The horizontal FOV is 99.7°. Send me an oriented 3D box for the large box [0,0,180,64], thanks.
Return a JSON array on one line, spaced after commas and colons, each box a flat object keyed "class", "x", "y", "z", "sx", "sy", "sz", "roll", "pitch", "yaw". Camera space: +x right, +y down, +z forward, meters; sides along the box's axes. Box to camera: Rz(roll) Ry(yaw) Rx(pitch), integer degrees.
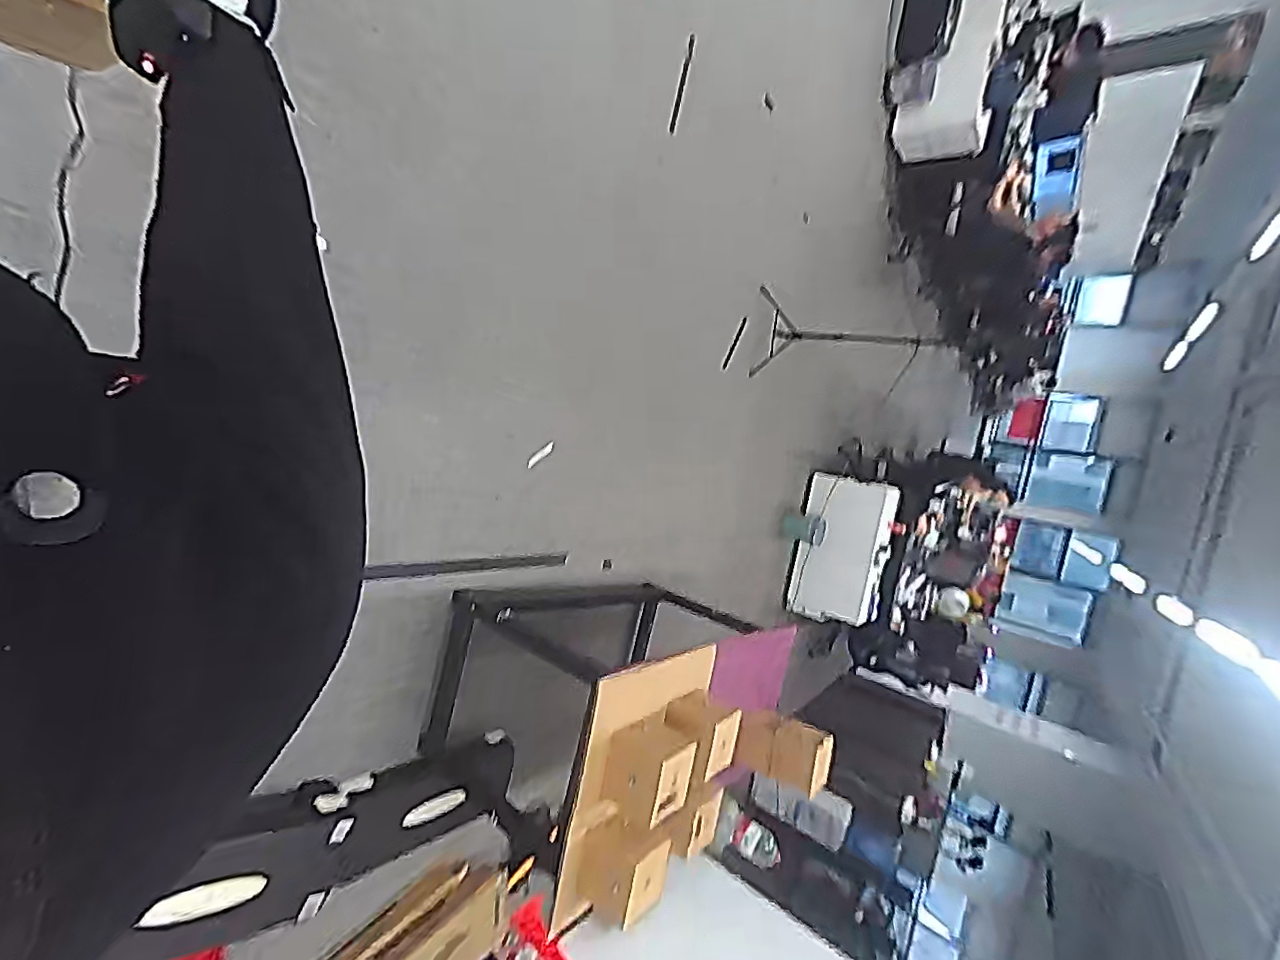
[{"class": "large box", "x": -0.554, "y": -0.507, "z": 0.292, "sx": 0.408, "sy": 0.320, "sz": 0.320, "roll": -9, "pitch": 118, "yaw": -53}]
